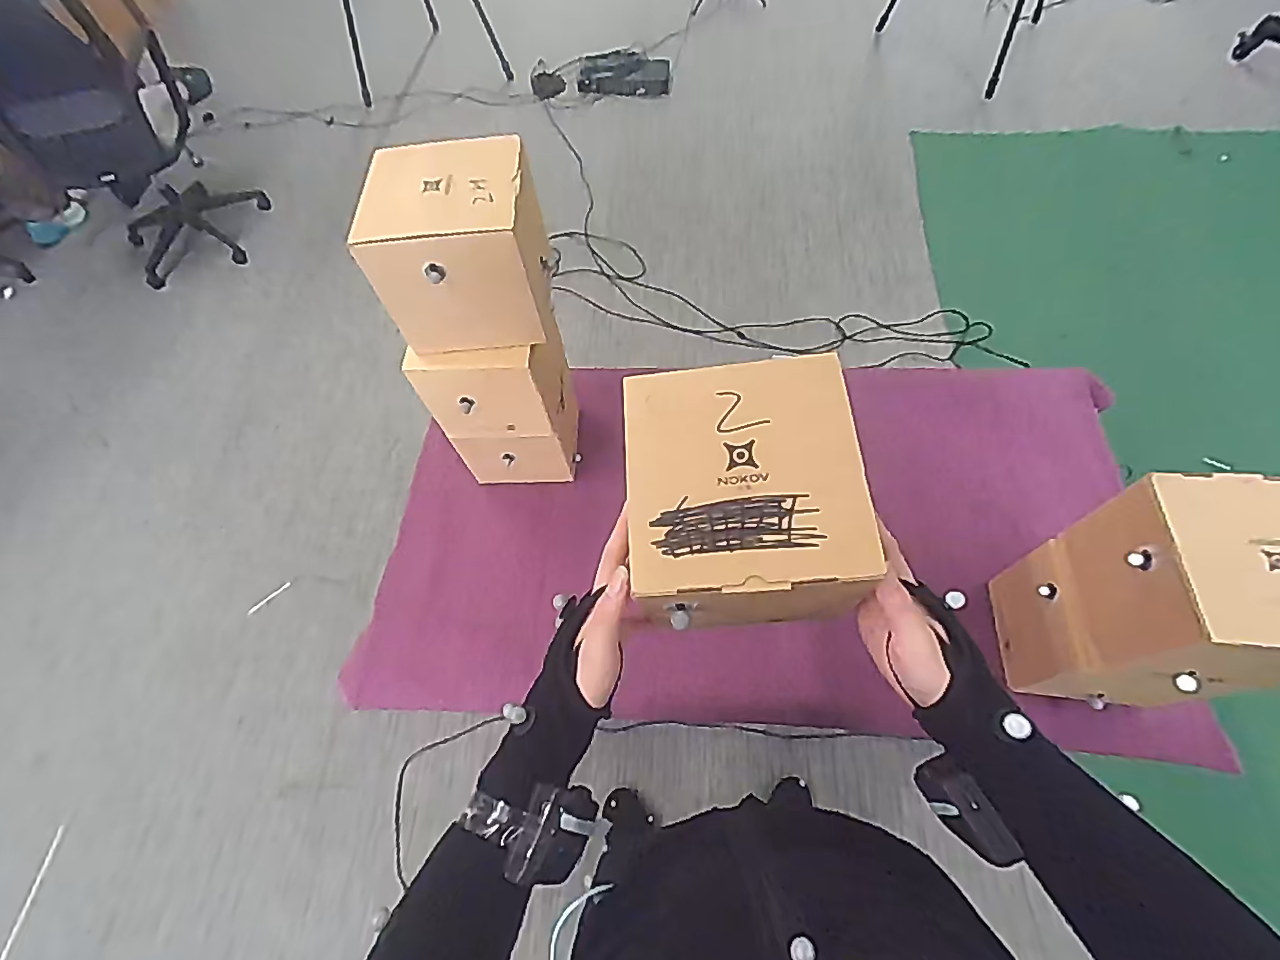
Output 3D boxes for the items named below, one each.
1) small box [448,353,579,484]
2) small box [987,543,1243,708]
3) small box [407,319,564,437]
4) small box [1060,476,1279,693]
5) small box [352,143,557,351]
[{"bbox_3d":[-0.205,-0.102,0.937,0.179,0.176,0.168,-2,62,4],"label":"small box"},{"bbox_3d":[0.603,0.199,0.717,0.179,0.176,0.168,5,61,7],"label":"small box"},{"bbox_3d":[-0.211,-0.174,0.792,0.168,0.176,0.179,-1,61,3],"label":"small box"},{"bbox_3d":[0.595,0.116,0.577,0.168,0.176,0.179,4,62,9],"label":"small box"},{"bbox_3d":[-0.208,-0.274,0.660,0.179,0.176,0.168,-4,62,2],"label":"small box"}]
